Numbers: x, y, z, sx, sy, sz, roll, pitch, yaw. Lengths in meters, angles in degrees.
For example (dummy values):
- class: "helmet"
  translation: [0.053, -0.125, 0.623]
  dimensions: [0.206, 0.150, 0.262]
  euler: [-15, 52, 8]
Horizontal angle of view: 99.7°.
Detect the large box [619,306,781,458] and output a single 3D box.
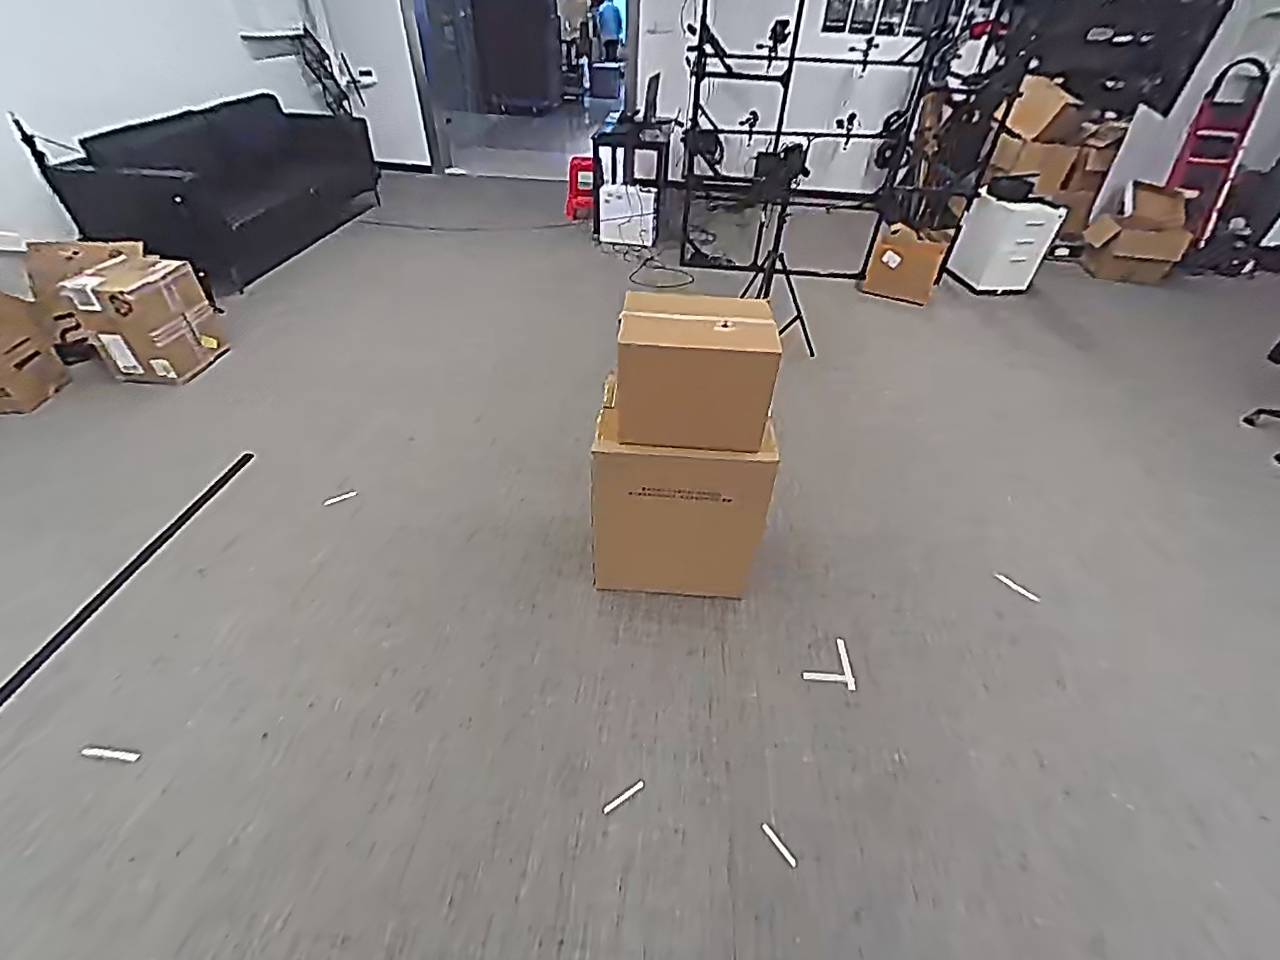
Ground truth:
- class: "large box"
  translation: [0.148, -0.280, 1.541]
  dimensions: [0.408, 0.320, 0.320]
  euler: [4, 41, 0]
